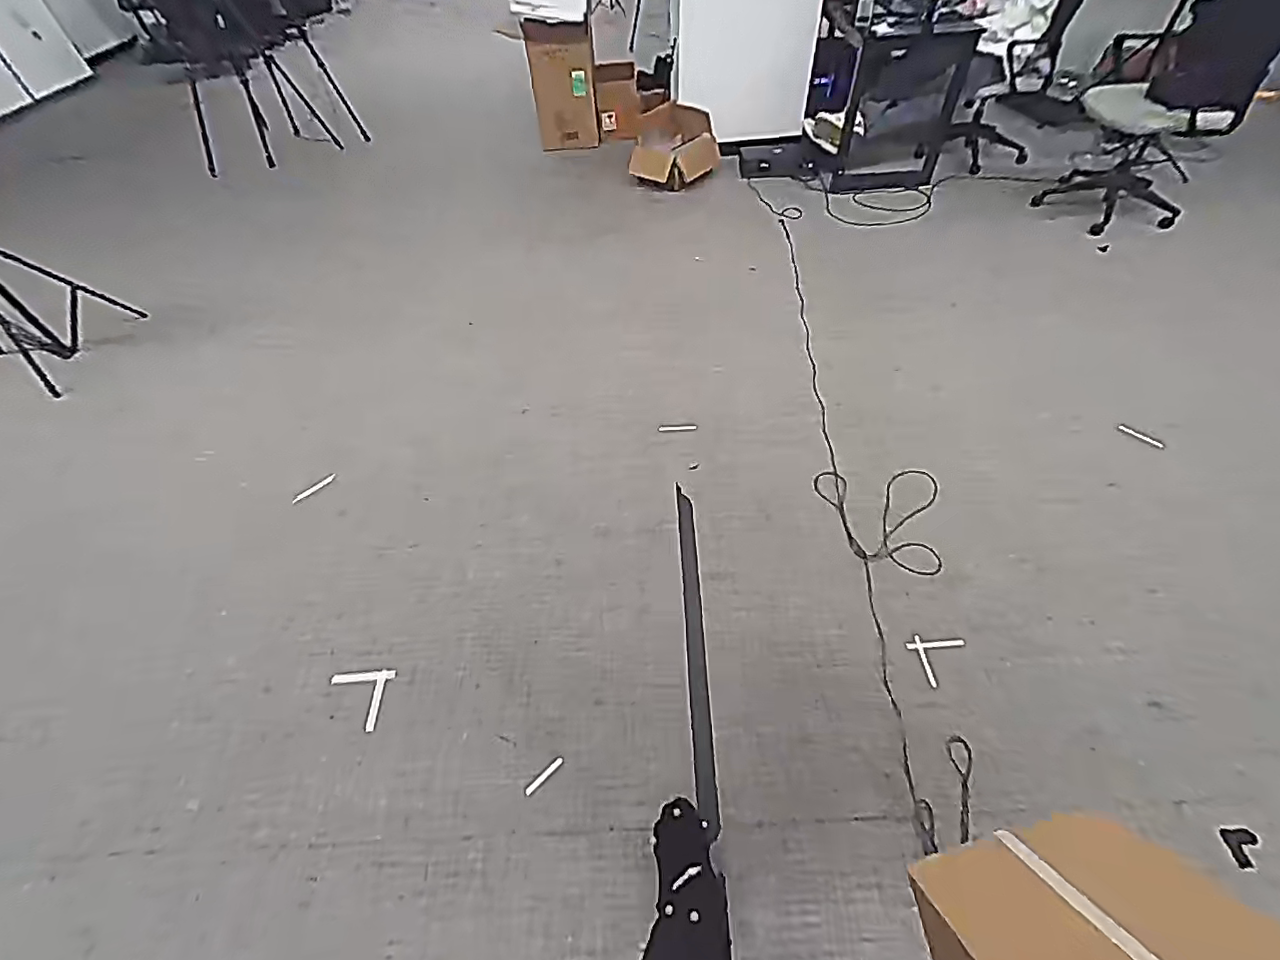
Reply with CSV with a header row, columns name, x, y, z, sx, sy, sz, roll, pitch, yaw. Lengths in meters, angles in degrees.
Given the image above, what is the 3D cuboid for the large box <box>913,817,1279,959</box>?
name,x,y,z,sx,sy,sz,roll,pitch,yaw
large box,0.595,0.683,0.612,0.320,0.408,0.320,-16,88,-2
